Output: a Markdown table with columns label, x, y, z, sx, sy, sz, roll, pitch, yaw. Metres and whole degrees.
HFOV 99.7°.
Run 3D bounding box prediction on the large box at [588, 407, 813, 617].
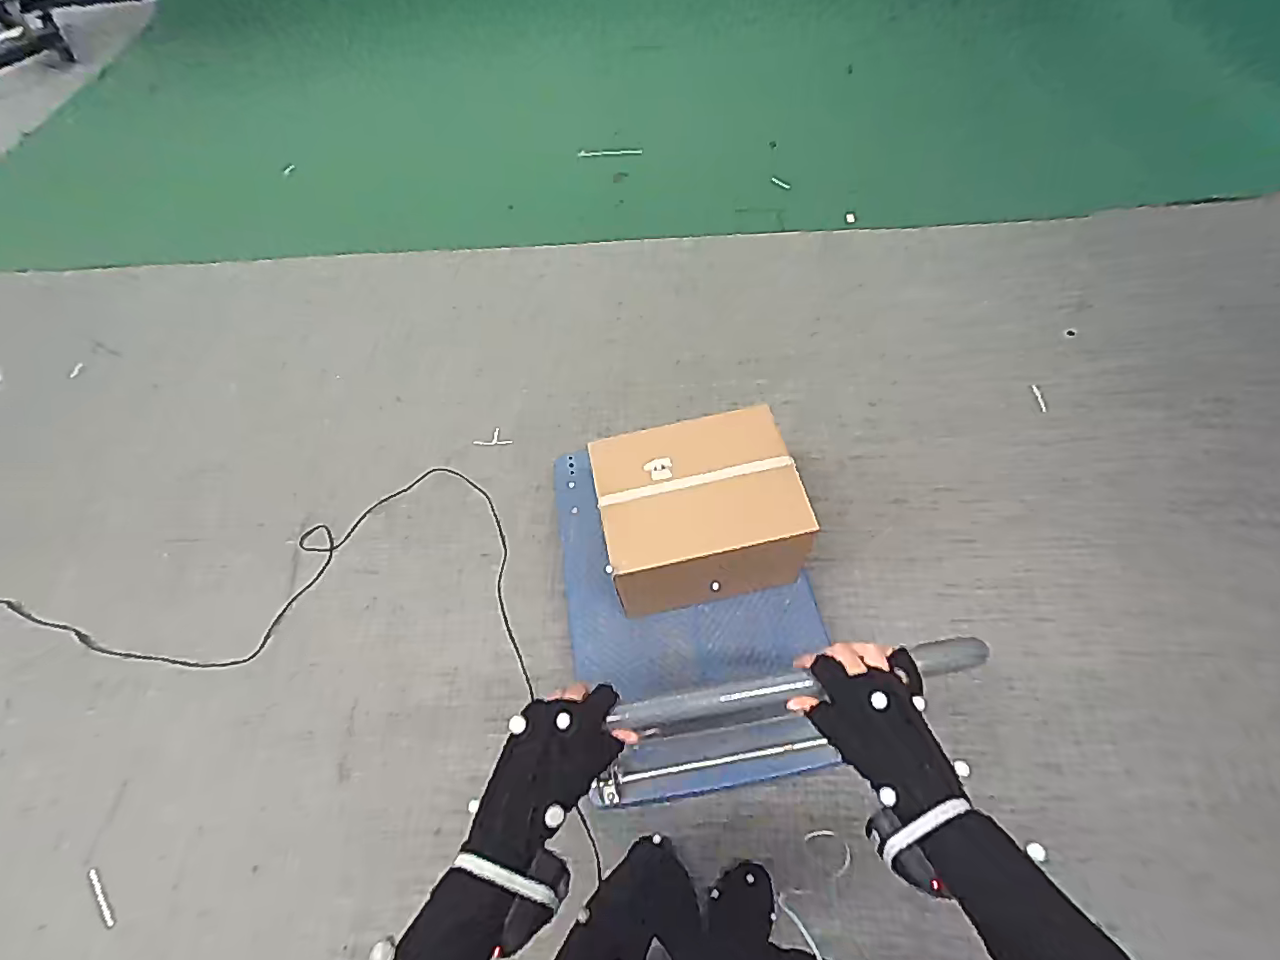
| label | x | y | z | sx | sy | sz | roll | pitch | yaw |
| --- | --- | --- | --- | --- | --- | --- | --- | --- | --- |
| large box | 0.124 | 0.085 | 1.230 | 0.408 | 0.320 | 0.320 | -13 | 59 | -1 |
